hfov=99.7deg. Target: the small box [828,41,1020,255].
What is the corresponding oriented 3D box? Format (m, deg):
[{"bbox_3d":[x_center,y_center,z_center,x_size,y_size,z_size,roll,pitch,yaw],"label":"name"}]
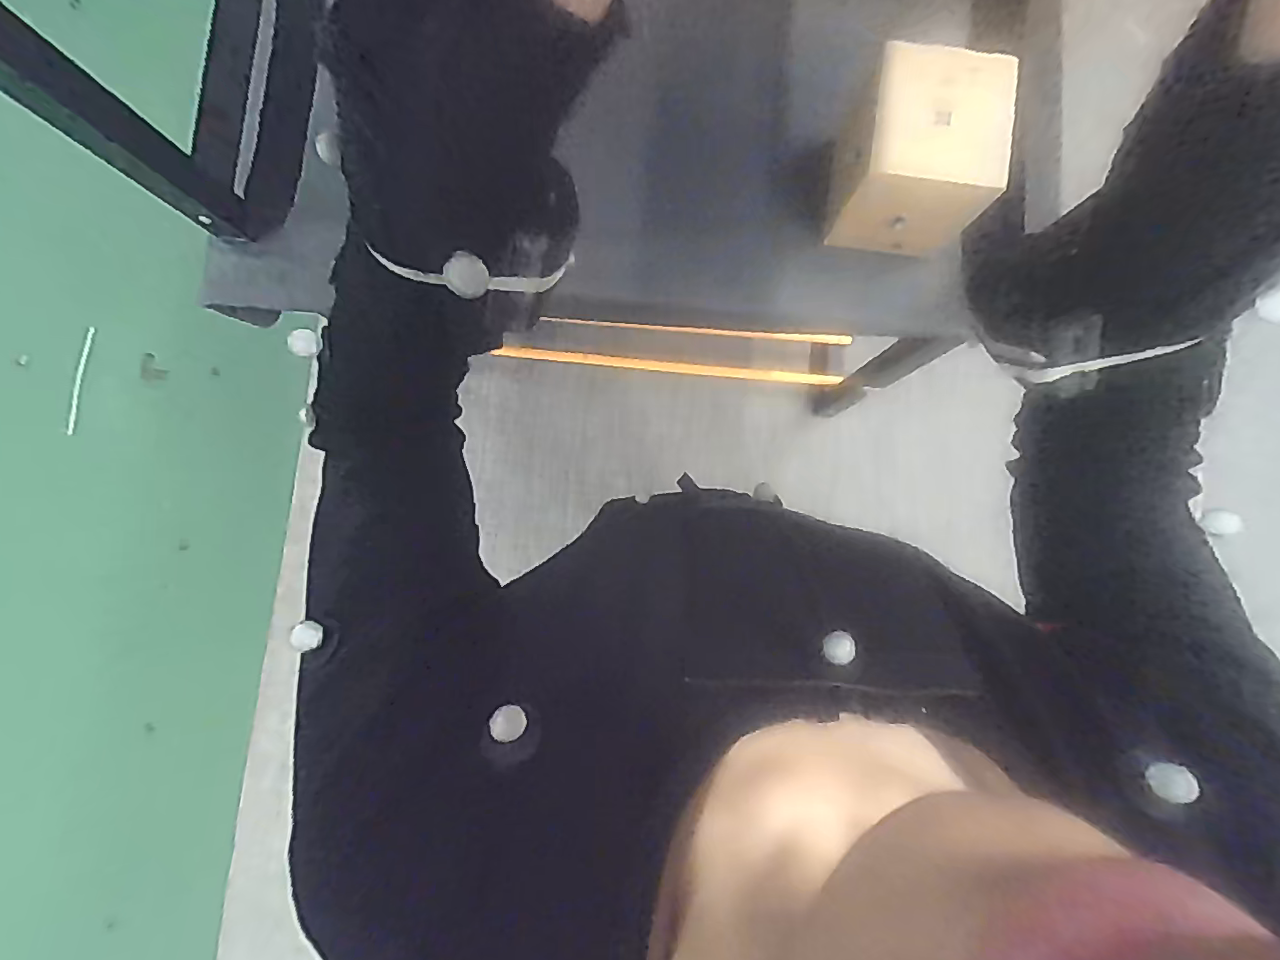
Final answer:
[{"bbox_3d":[0.367,-0.432,0.730,0.168,0.176,0.179,9,84,1],"label":"small box"}]
